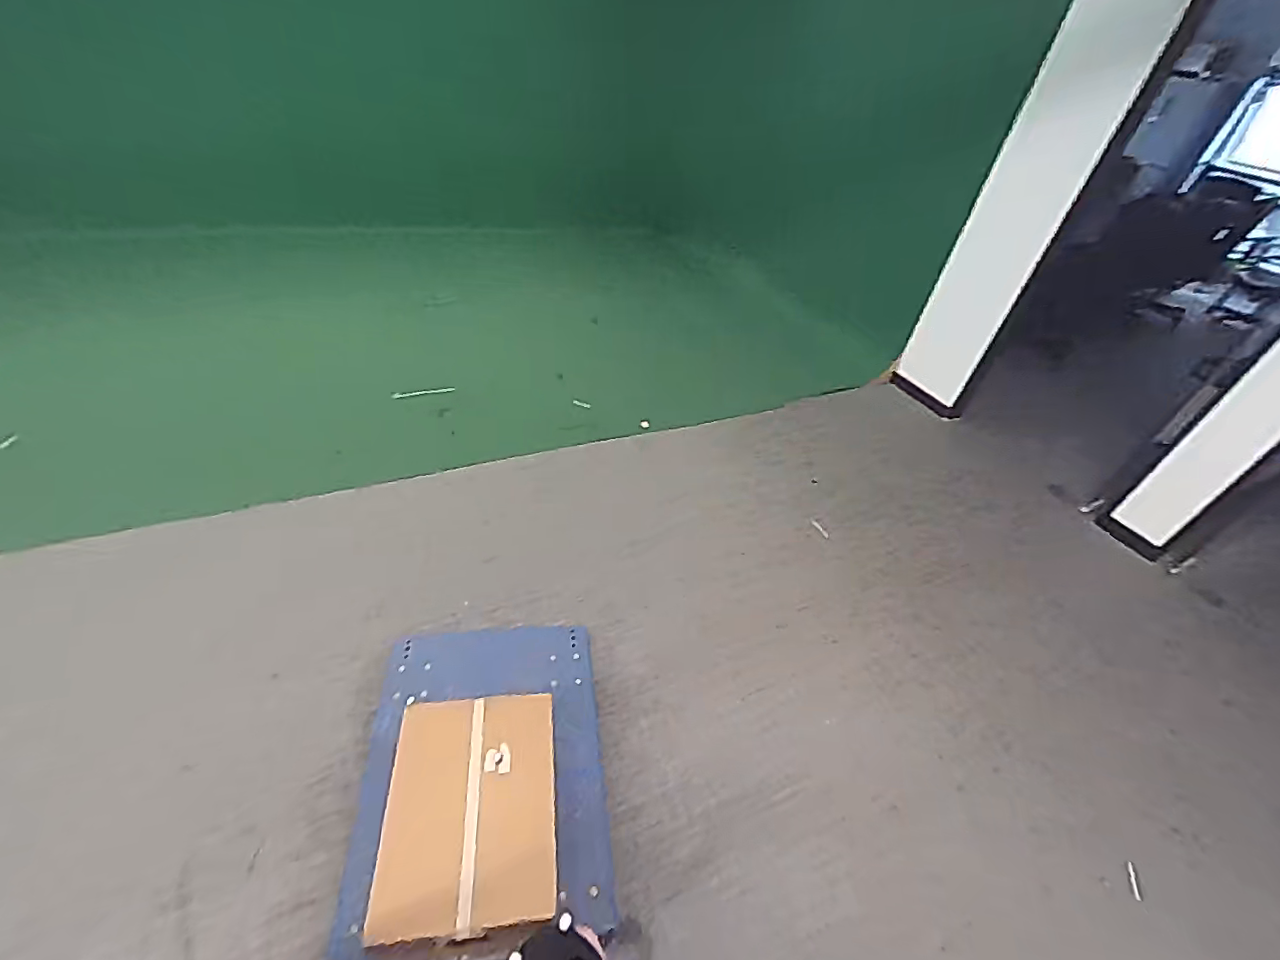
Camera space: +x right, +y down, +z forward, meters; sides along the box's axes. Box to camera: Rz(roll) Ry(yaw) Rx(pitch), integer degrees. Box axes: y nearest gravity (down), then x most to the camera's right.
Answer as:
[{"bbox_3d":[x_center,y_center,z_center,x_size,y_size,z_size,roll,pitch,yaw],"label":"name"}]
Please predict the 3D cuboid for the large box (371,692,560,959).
[{"bbox_3d":[-0.340,0.728,1.149,0.320,0.320,0.408,0,40,-12],"label":"large box"}]
